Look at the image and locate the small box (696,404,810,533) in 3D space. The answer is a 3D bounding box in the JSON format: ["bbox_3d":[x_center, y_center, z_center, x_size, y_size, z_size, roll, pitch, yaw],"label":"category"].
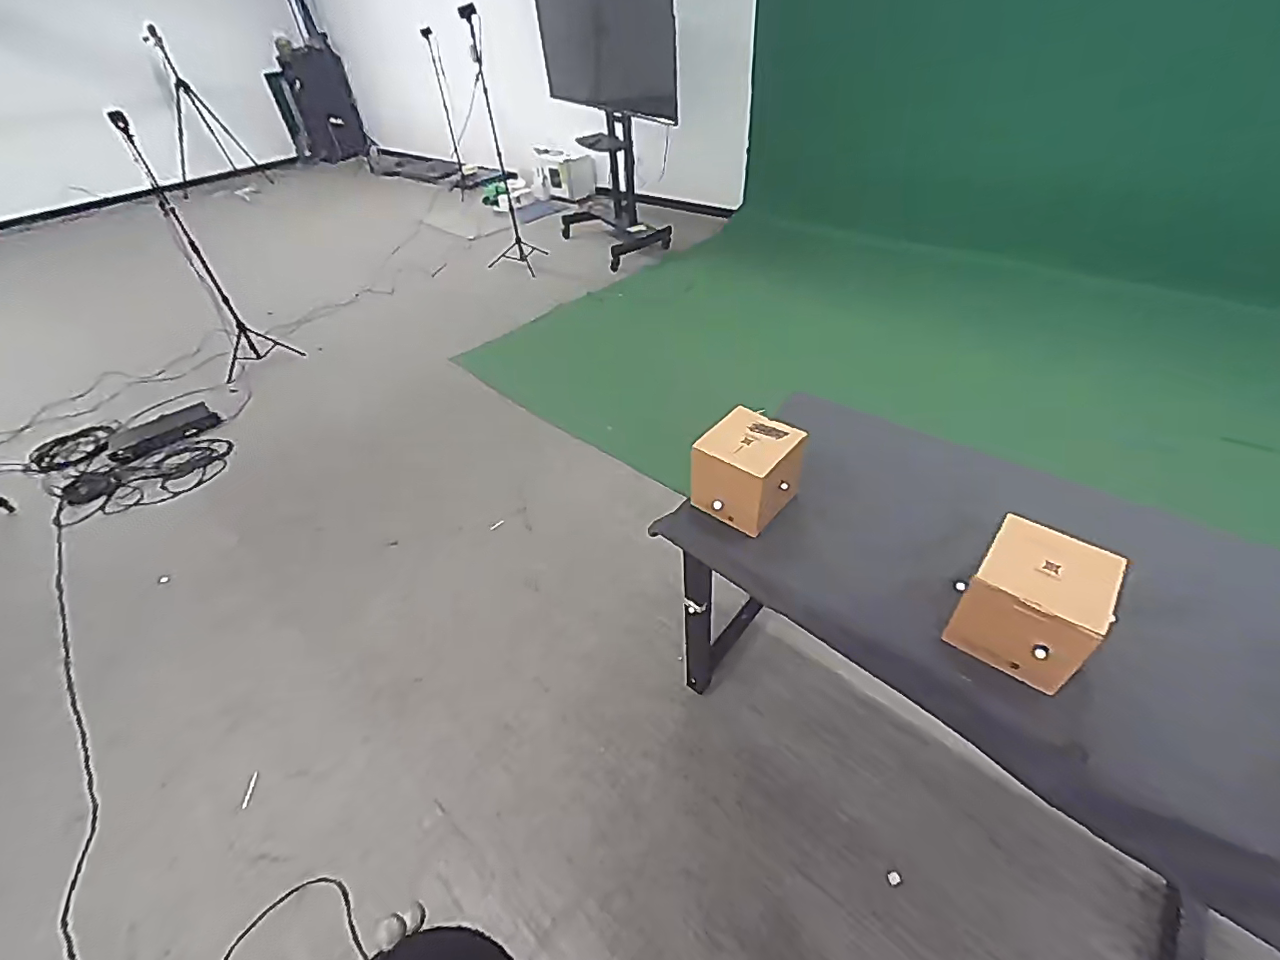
[{"bbox_3d":[0.227,-0.025,1.125,0.168,0.176,0.179,29,52,32],"label":"small box"}]

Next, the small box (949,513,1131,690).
[{"bbox_3d":[0.618,0.191,0.853,0.168,0.176,0.179,29,50,30],"label":"small box"}]
